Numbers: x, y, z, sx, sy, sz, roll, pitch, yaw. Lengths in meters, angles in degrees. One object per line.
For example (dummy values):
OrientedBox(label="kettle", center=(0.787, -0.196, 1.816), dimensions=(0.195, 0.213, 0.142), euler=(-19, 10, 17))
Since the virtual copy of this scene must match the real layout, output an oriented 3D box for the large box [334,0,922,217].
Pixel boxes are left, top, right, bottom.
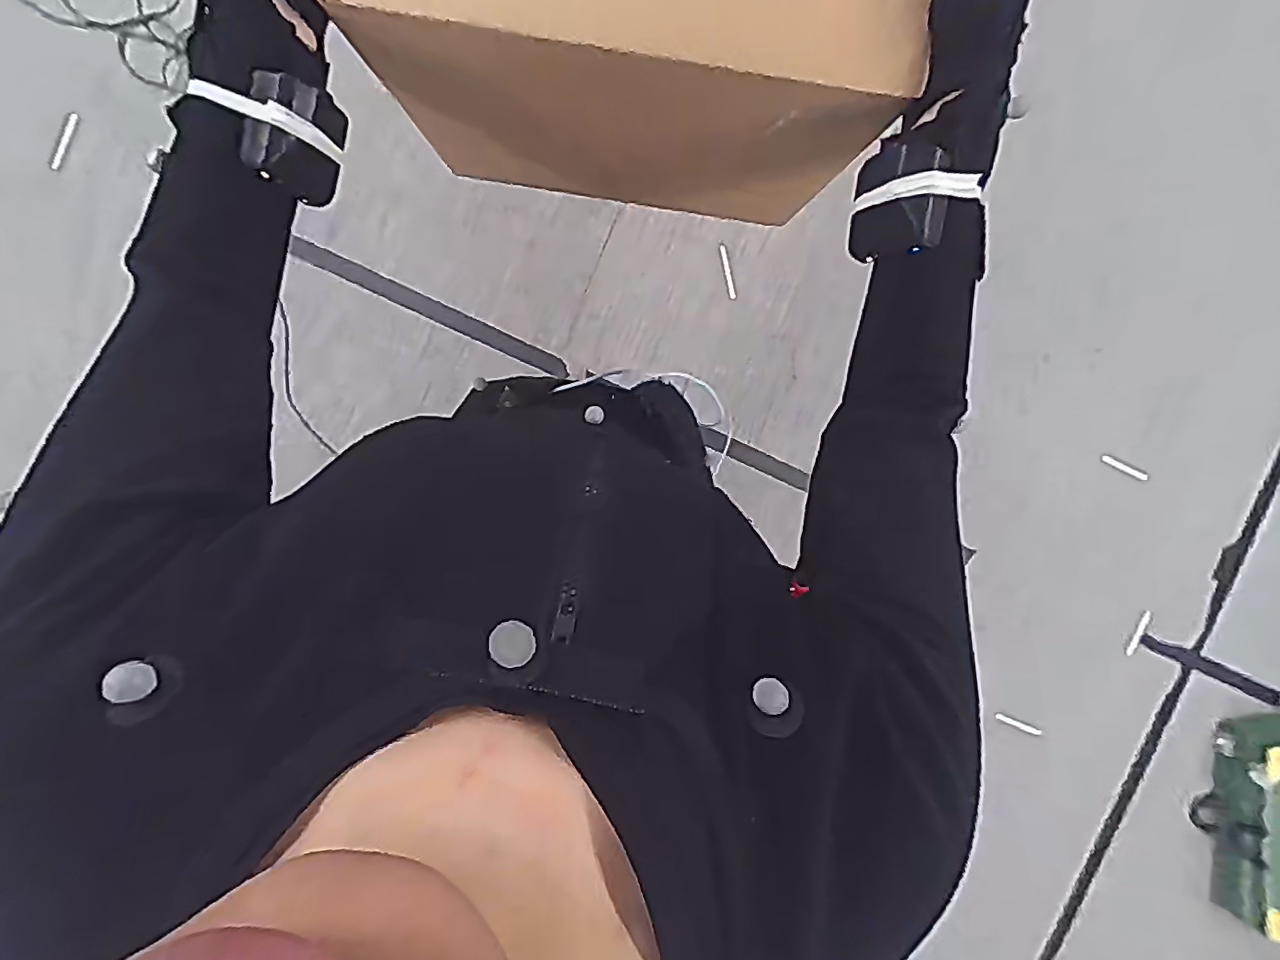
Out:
OrientedBox(label="large box", center=(0.000, -0.466, 0.488), dimensions=(0.408, 0.320, 0.320), euler=(6, 101, -4))
